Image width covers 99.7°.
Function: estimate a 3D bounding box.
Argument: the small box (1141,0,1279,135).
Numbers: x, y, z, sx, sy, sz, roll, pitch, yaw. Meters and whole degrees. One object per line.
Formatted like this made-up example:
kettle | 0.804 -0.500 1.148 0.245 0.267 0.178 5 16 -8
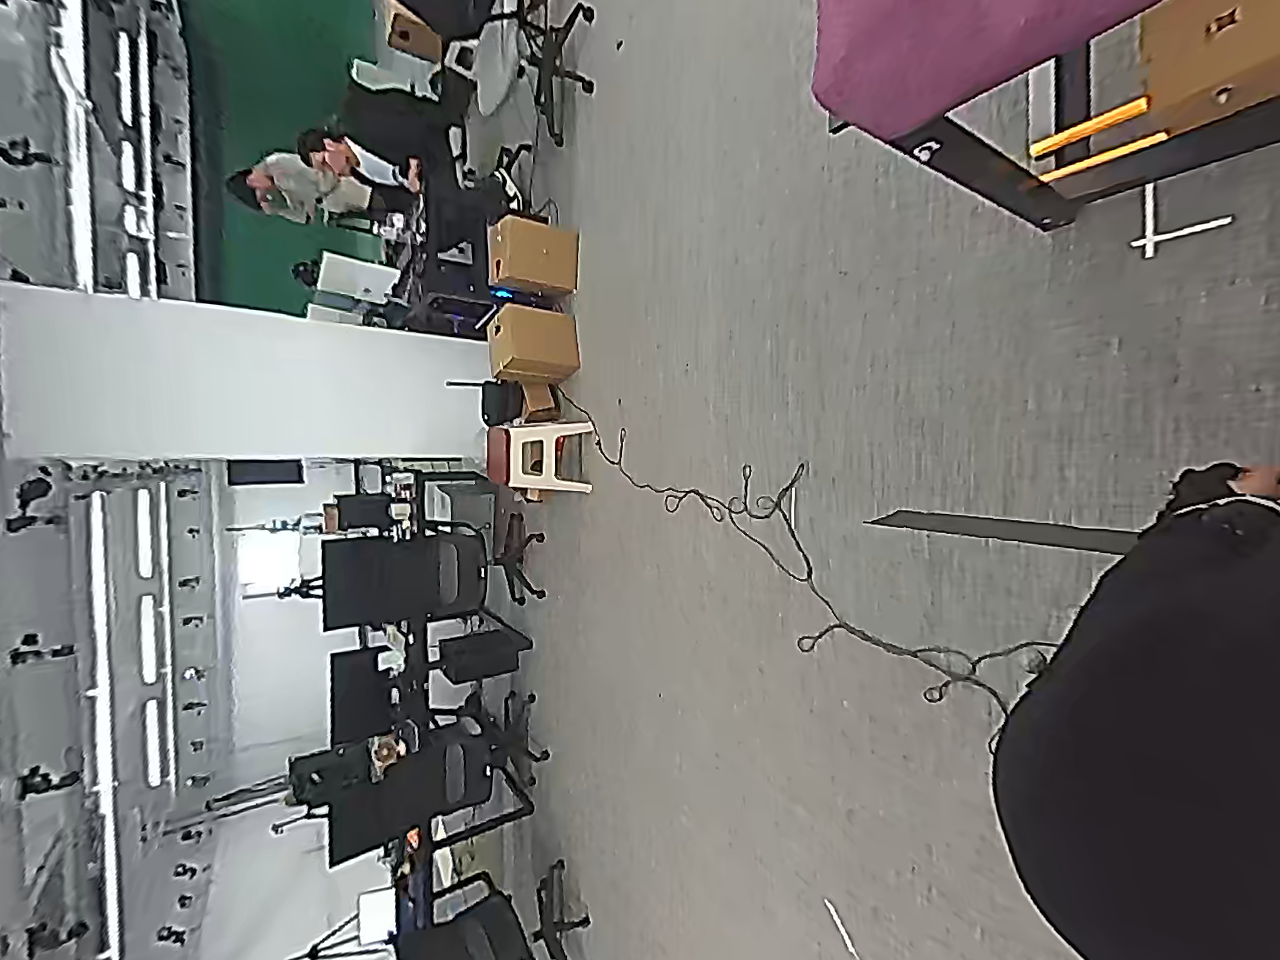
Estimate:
small box | 0.906 -0.669 0.820 0.179 0.176 0.168 -5 89 57
